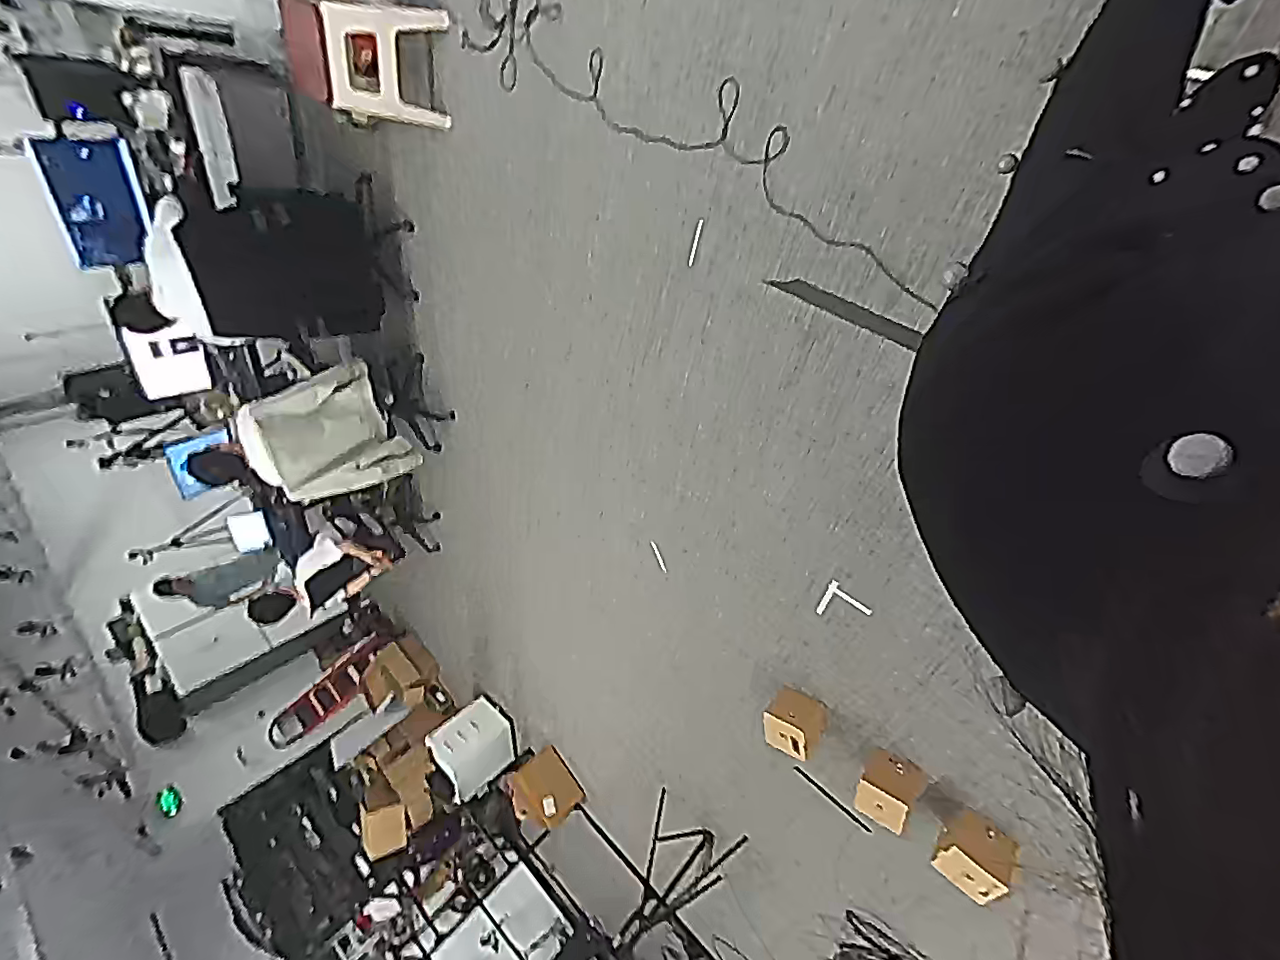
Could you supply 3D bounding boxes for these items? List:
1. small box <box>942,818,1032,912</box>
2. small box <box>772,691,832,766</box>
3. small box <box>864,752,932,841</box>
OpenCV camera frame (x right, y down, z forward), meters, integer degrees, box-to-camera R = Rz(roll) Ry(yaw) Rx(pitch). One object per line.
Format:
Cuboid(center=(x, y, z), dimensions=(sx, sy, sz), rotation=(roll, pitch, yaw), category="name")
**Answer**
Cuboid(center=(1.140, 1.251, 1.774), dimensions=(0.179, 0.176, 0.168), rotation=(35, 134, 27), category="small box")
Cuboid(center=(0.640, 0.966, 2.120), dimensions=(0.179, 0.176, 0.168), rotation=(12, 120, 43), category="small box")
Cuboid(center=(0.919, 1.120, 1.924), dimensions=(0.168, 0.176, 0.179), rotation=(18, 123, 37), category="small box")
